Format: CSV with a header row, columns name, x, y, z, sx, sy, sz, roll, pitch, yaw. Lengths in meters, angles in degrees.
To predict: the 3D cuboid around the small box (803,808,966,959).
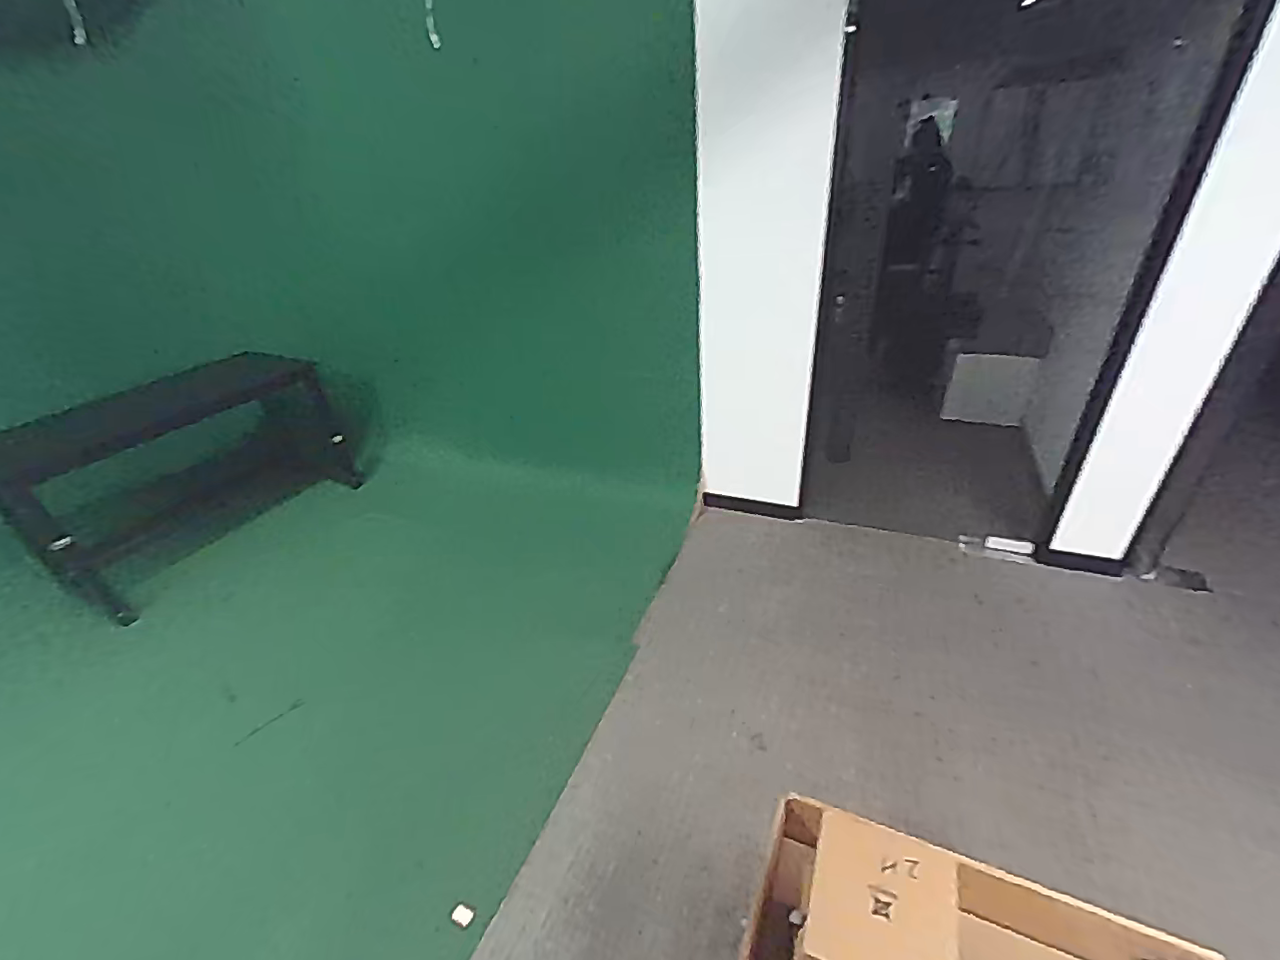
name,x,y,z,sx,sy,sz,roll,pitch,yaw
small box,0.308,0.577,0.693,0.168,0.176,0.179,10,35,24
